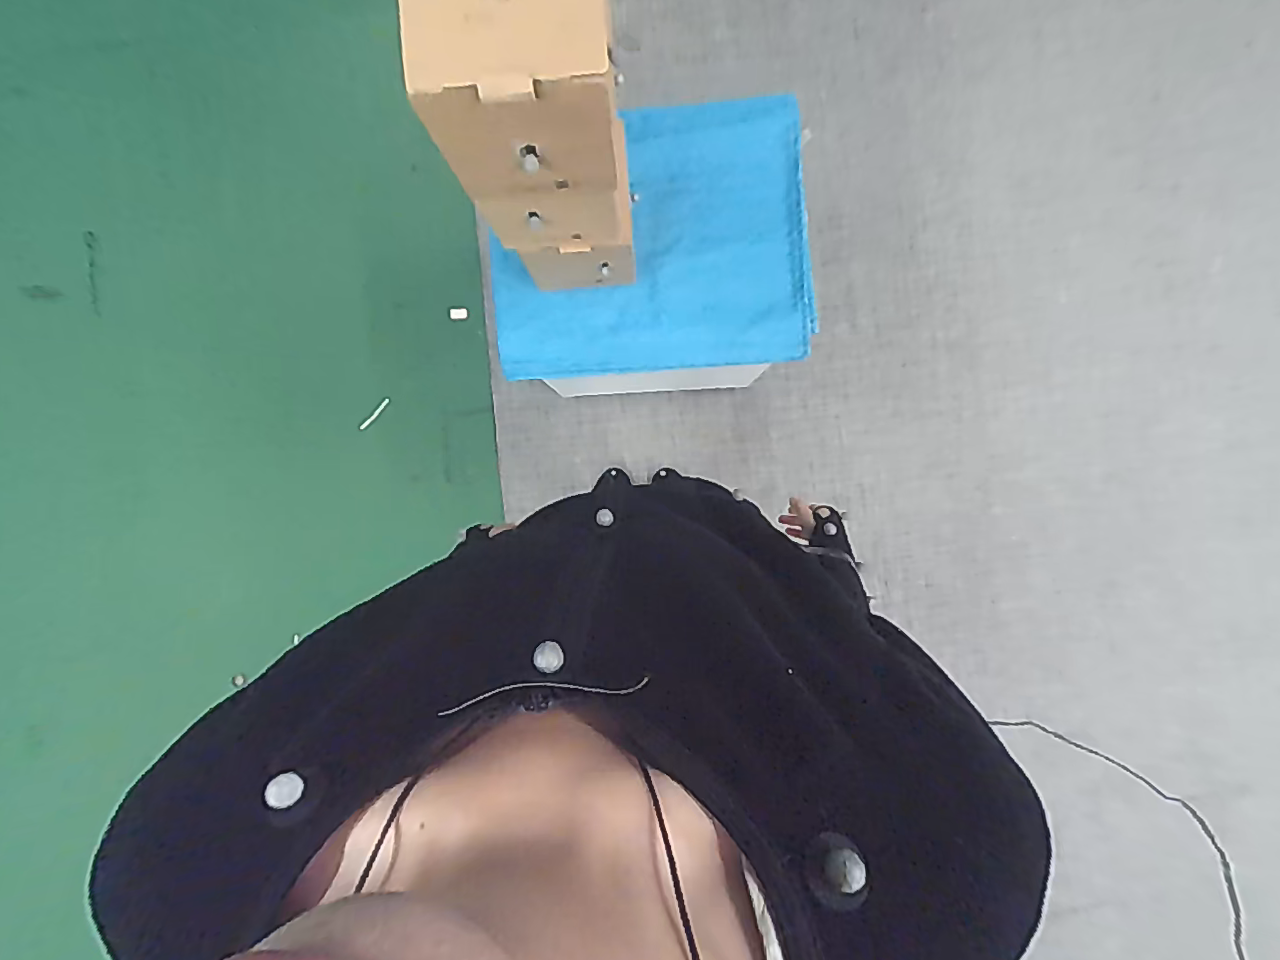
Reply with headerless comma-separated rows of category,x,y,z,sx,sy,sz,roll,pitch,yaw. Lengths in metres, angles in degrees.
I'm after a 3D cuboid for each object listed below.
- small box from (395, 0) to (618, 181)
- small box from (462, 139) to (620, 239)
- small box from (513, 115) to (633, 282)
small box,-0.109,-0.400,0.501,0.168,0.176,0.179,-2,90,0
small box,-0.113,-0.412,0.665,0.168,0.176,0.179,-2,90,1
small box,-0.097,-0.414,0.826,0.168,0.176,0.179,-3,90,0
